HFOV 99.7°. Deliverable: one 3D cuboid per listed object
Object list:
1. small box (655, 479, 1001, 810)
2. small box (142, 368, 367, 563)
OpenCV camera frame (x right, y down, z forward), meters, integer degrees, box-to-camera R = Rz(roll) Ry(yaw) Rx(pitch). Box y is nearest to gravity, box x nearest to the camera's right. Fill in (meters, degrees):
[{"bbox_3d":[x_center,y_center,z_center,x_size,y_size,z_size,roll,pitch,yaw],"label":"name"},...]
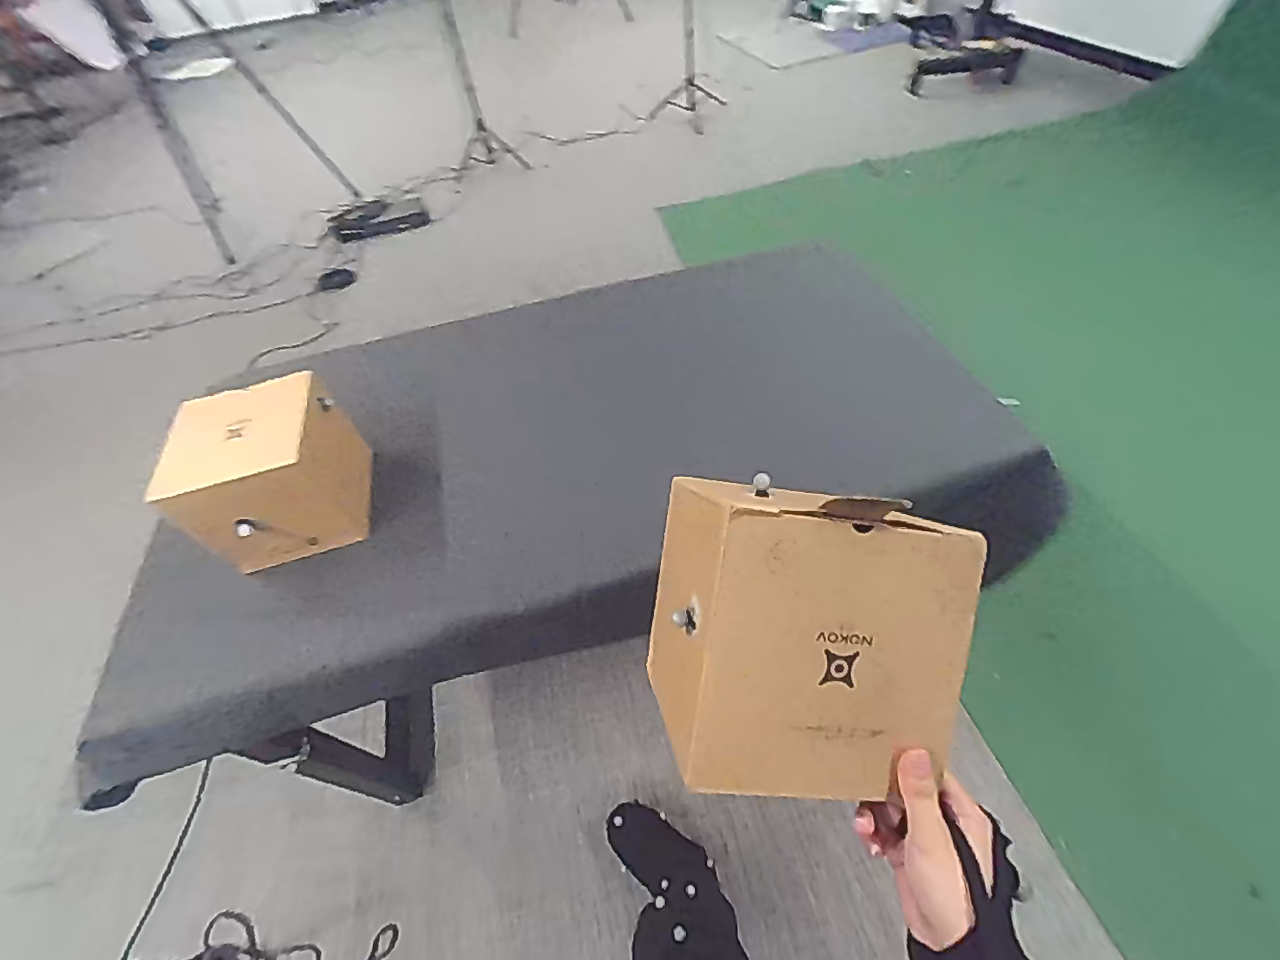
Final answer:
[{"bbox_3d":[0.111,0.099,0.394,0.168,0.176,0.179,8,95,-8],"label":"small box"},{"bbox_3d":[-0.479,-0.011,0.708,0.168,0.176,0.179,-17,51,-7],"label":"small box"}]
